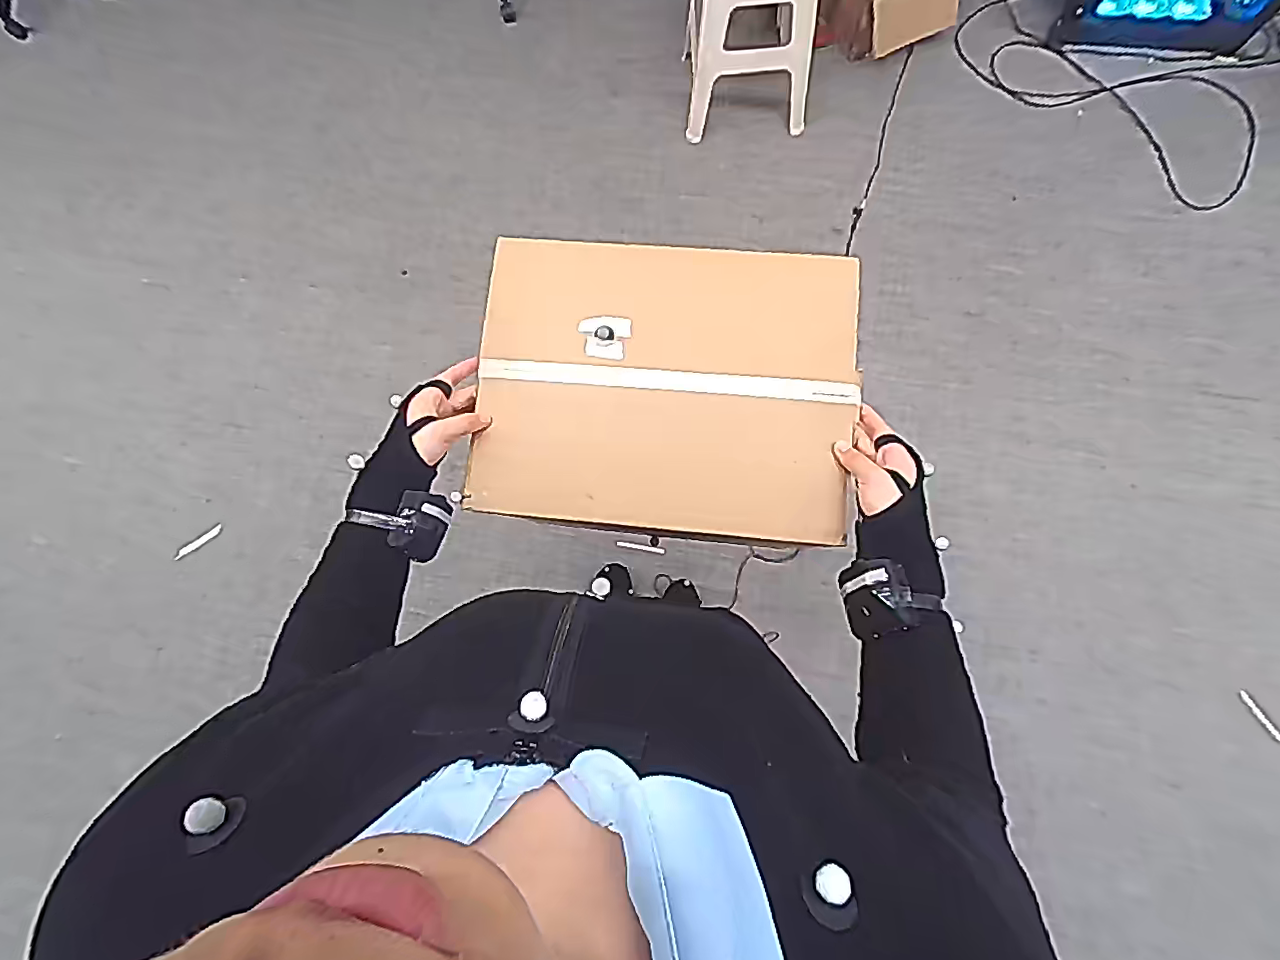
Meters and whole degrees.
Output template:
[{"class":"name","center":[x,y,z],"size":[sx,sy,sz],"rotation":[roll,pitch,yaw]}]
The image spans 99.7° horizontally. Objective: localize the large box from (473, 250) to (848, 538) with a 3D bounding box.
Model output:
[{"class":"large box","center":[0.036,-0.087,0.741],"size":[0.408,0.320,0.320],"rotation":[4,81,5]}]
